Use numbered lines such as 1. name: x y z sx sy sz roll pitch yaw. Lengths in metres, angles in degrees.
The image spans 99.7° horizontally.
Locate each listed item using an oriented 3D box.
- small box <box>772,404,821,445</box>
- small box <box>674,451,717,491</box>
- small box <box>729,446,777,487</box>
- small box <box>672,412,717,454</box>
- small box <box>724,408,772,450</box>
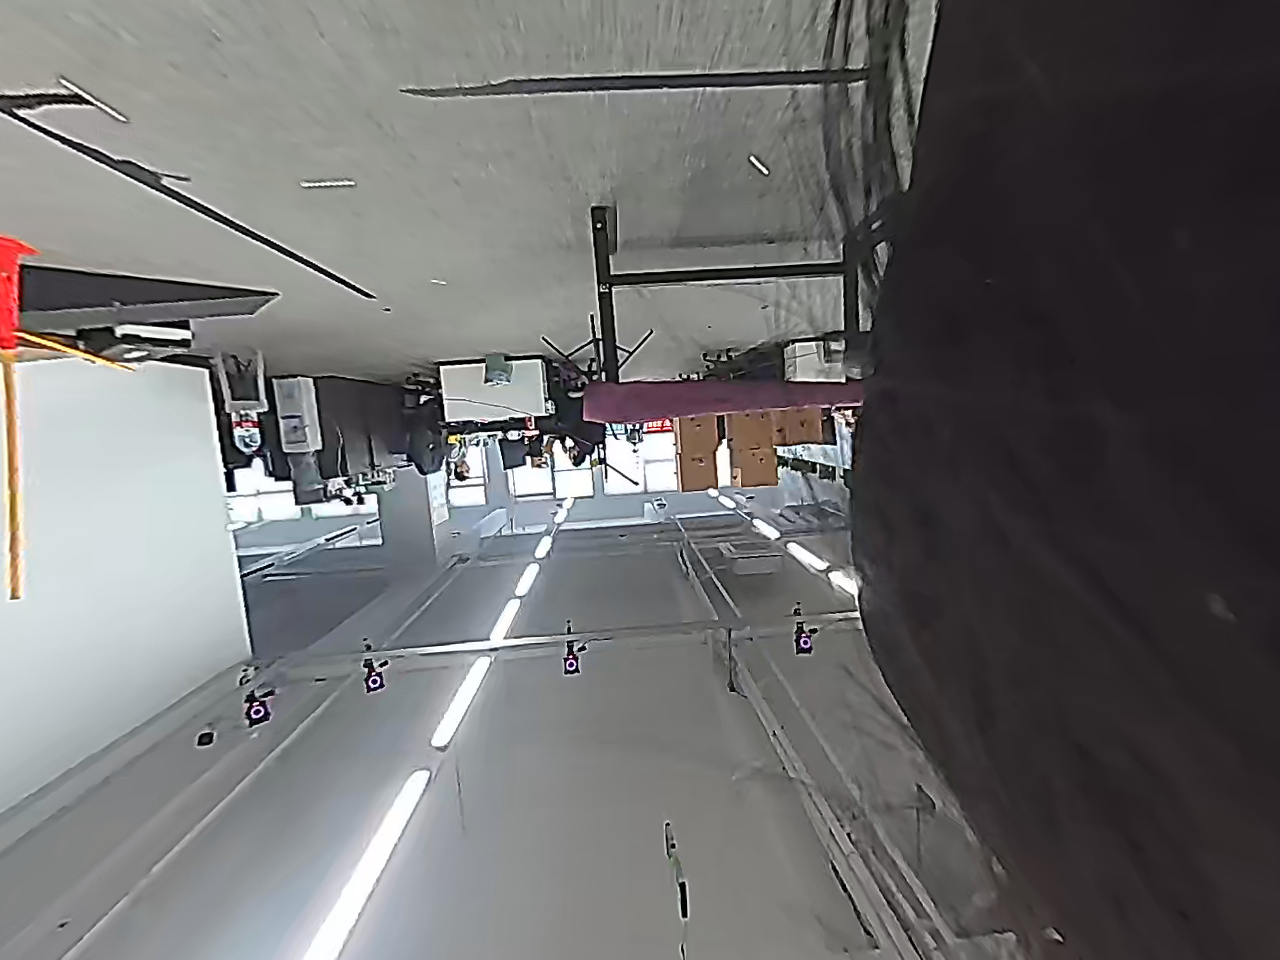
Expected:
1. small box: 0.696 -0.249 2.424 0.168 0.176 0.179 -4 -176 -5
2. small box: 0.242 -0.048 2.385 0.168 0.176 0.179 -5 -175 -1
3. small box: 0.493 -0.066 2.380 0.168 0.176 0.179 -5 -175 -6
4. small box: 0.236 -0.209 2.364 0.168 0.176 0.179 -5 -175 -4
5. small box: 0.467 -0.226 2.357 0.168 0.176 0.179 -4 -174 -3
